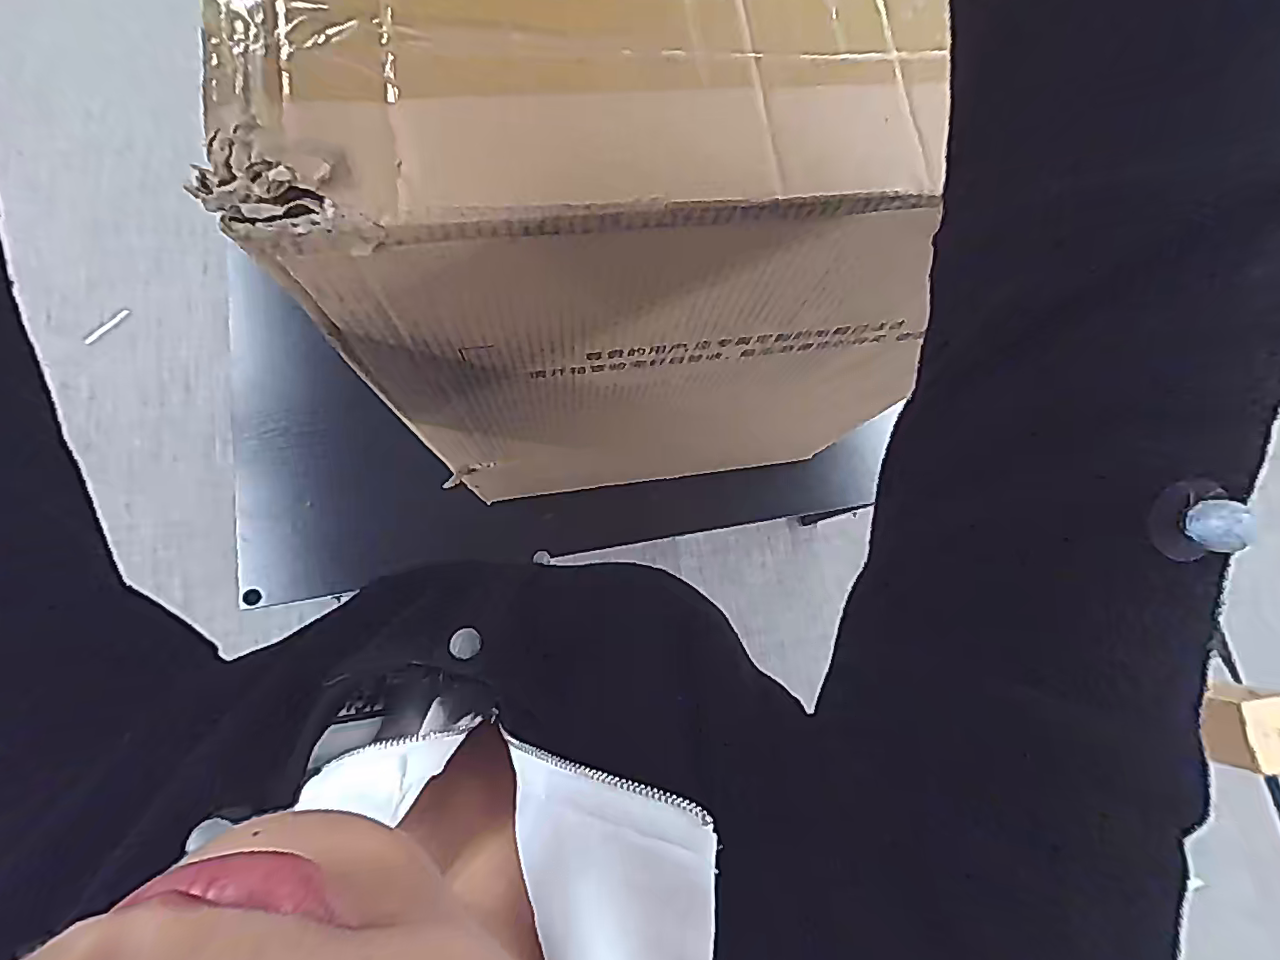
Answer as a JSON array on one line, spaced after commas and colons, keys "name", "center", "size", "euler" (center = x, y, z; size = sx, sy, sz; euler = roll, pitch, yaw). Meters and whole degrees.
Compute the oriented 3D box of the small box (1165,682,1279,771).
[{"name": "small box", "center": [1.531, 0.627, 1.396], "size": [0.179, 0.176, 0.168], "euler": [-5, 79, -7]}]
